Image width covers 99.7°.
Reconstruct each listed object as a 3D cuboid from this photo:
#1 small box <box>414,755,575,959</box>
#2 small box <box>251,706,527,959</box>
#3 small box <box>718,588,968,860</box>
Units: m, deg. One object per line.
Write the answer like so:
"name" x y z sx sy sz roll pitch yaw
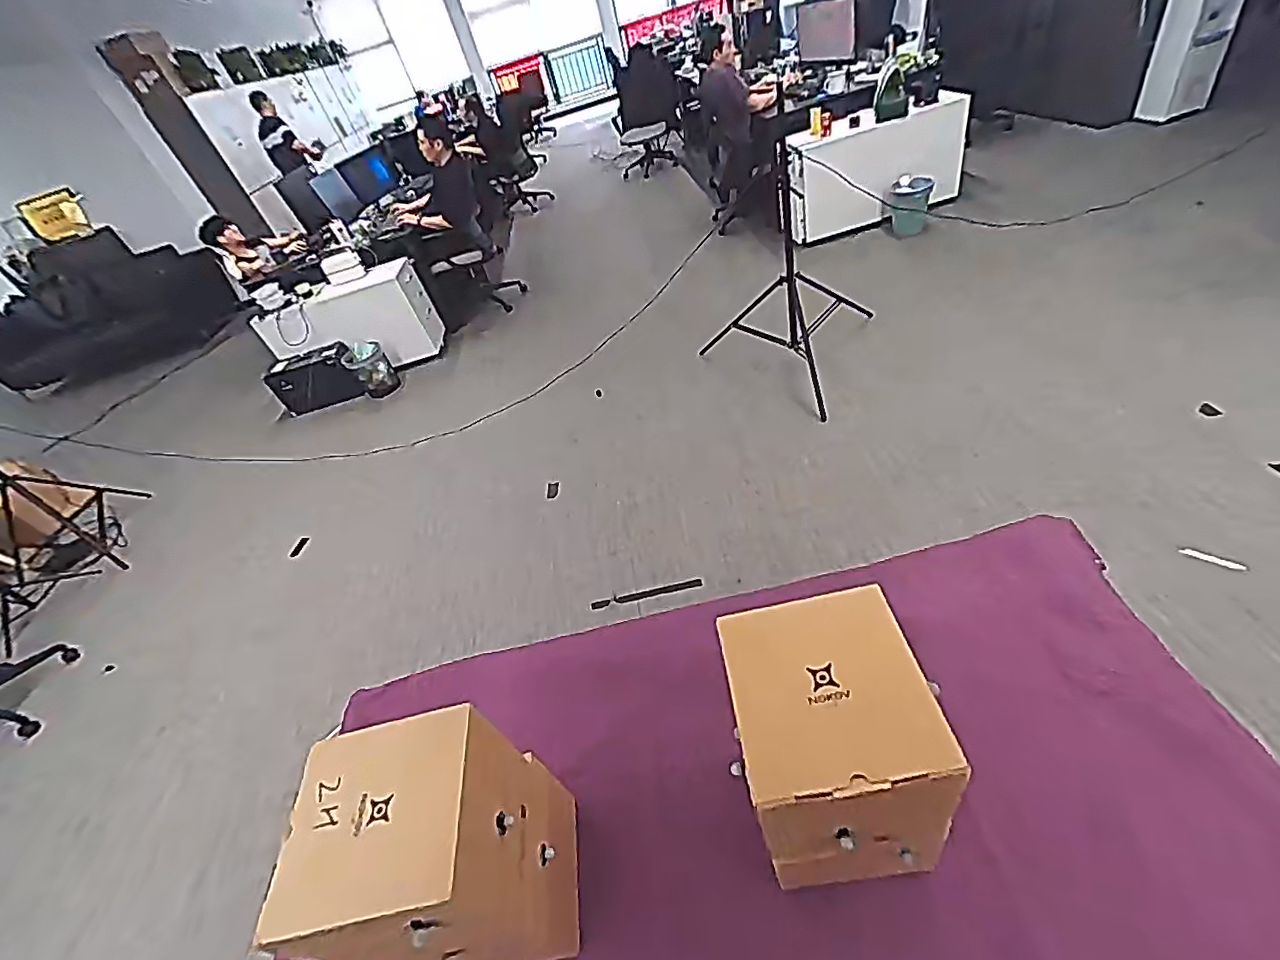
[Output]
"small box" -0.182 0.470 0.656 0.168 0.176 0.179 -15 40 4
"small box" -0.223 0.358 0.542 0.179 0.176 0.168 -15 41 3
"small box" 0.180 0.238 0.528 0.168 0.176 0.179 -14 41 6
